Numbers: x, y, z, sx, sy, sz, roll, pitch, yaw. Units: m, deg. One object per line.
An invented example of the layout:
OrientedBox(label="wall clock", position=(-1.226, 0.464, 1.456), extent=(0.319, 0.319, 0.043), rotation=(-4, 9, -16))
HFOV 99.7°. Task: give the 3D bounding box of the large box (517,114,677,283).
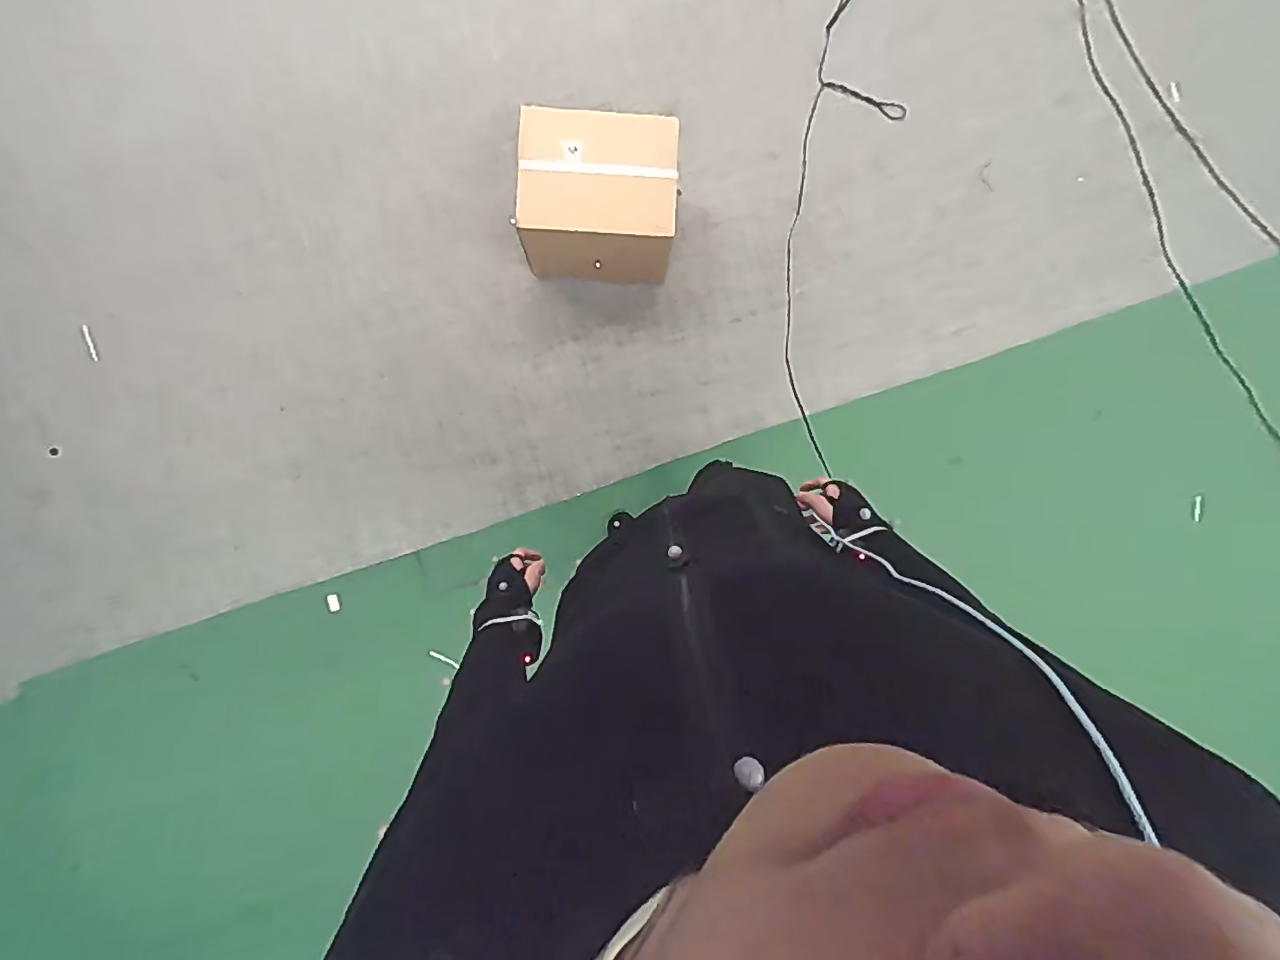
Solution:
OrientedBox(label="large box", position=(-0.109, -0.765, 1.514), extent=(0.408, 0.320, 0.320), rotation=(2, 87, -1))
